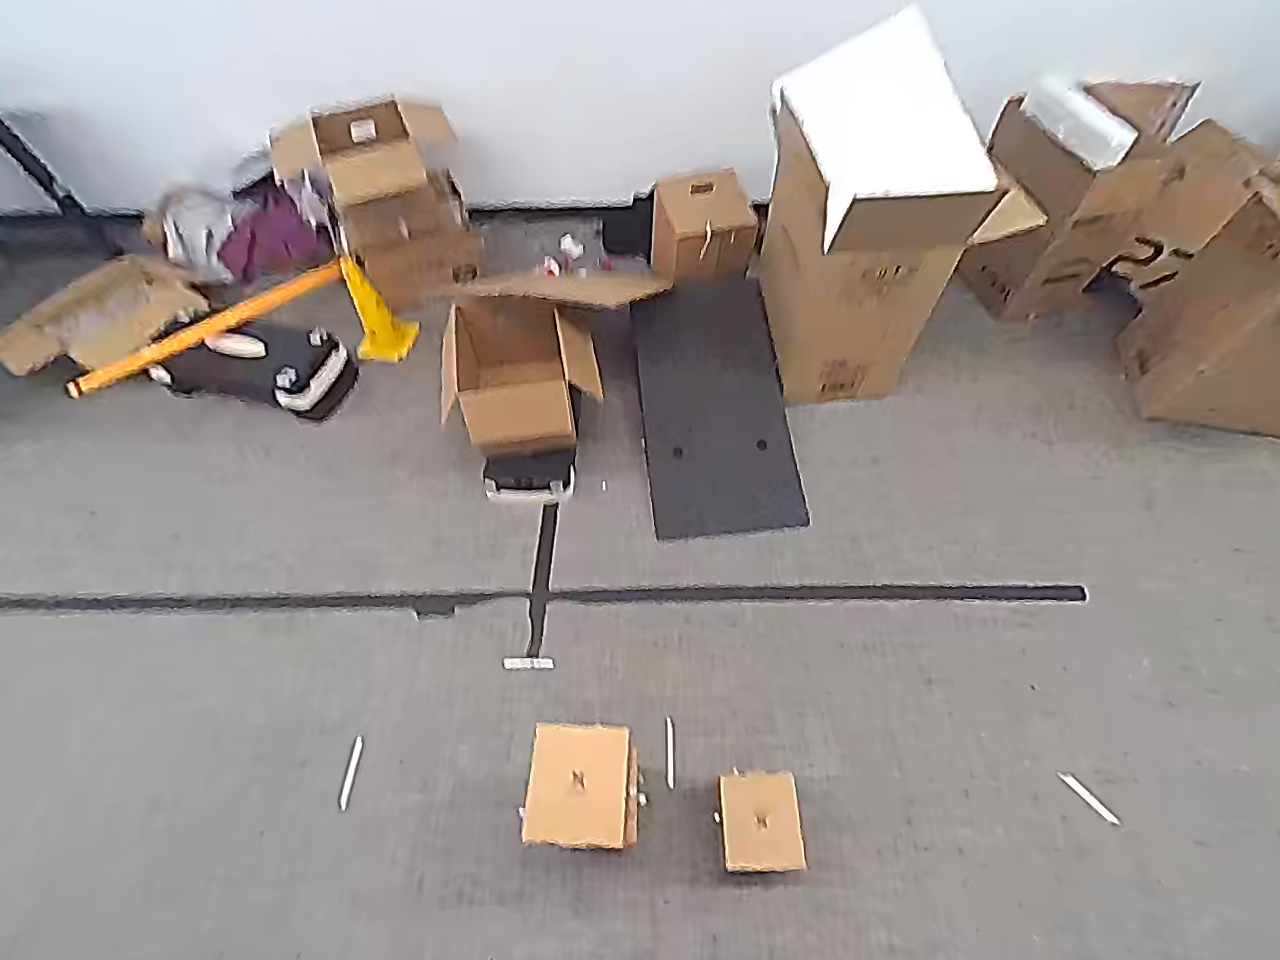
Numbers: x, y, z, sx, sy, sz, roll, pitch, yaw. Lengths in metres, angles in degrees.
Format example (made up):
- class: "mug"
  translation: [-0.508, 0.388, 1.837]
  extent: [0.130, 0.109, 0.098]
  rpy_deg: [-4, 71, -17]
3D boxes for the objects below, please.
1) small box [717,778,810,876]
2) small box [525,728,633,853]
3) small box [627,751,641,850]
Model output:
- class: "small box"
  translation: [0.266, 0.775, 1.210]
  extent: [0.168, 0.176, 0.179]
  rpy_deg: [-2, 58, 1]
- class: "small box"
  translation: [-0.099, 0.557, 0.967]
  extent: [0.168, 0.176, 0.179]
  rpy_deg: [2, 57, 2]
- class: "small box"
  translation: [-0.087, 0.652, 1.099]
  extent: [0.179, 0.176, 0.168]
  rpy_deg: [0, 57, 0]
